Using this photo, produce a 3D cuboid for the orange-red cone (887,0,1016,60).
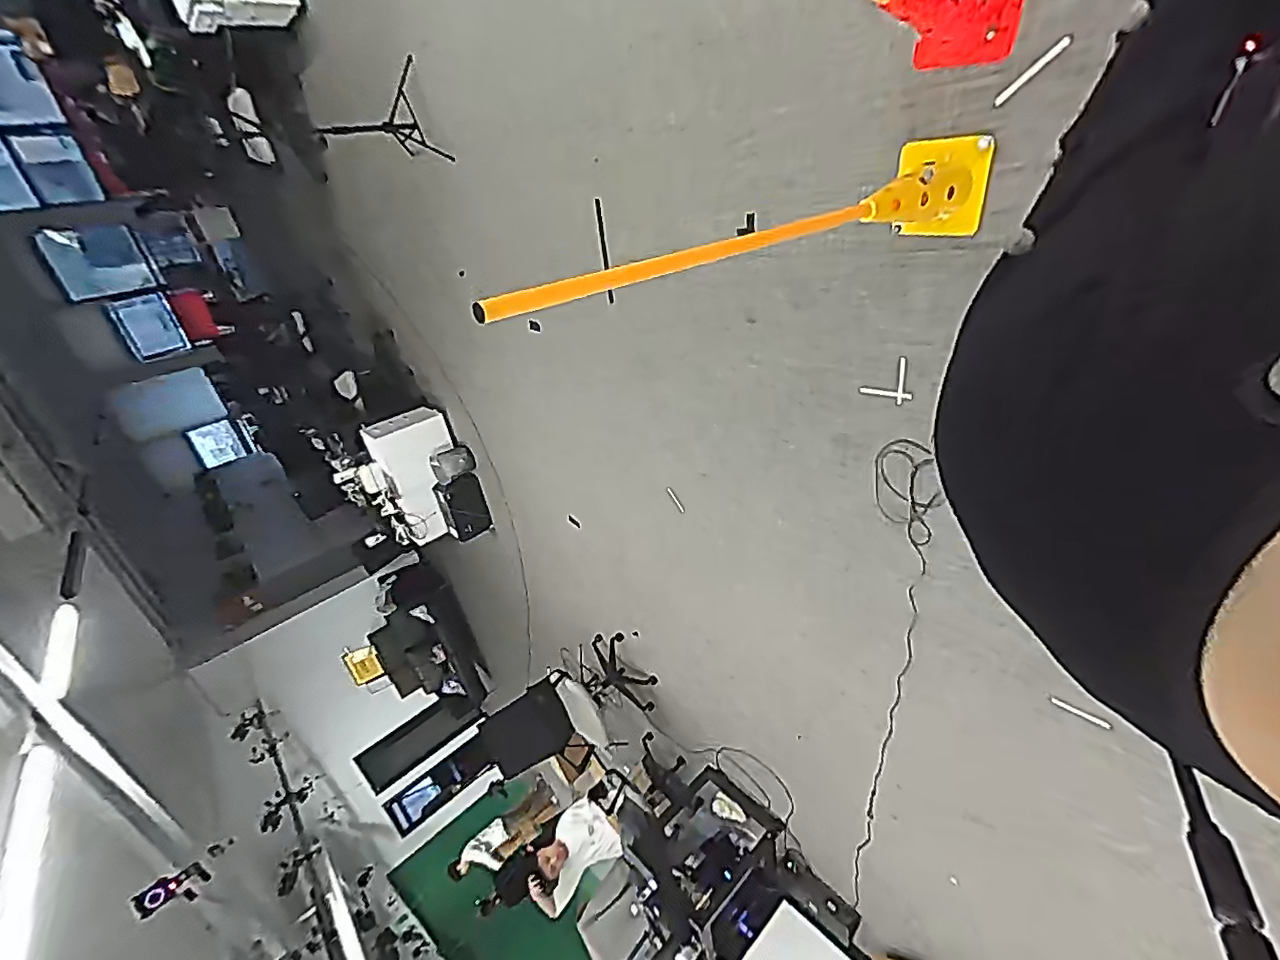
[{"bbox_3d":[0.529,-0.897,0.985,0.198,0.360,0.199,28,135,37],"label":"orange-red cone"}]
